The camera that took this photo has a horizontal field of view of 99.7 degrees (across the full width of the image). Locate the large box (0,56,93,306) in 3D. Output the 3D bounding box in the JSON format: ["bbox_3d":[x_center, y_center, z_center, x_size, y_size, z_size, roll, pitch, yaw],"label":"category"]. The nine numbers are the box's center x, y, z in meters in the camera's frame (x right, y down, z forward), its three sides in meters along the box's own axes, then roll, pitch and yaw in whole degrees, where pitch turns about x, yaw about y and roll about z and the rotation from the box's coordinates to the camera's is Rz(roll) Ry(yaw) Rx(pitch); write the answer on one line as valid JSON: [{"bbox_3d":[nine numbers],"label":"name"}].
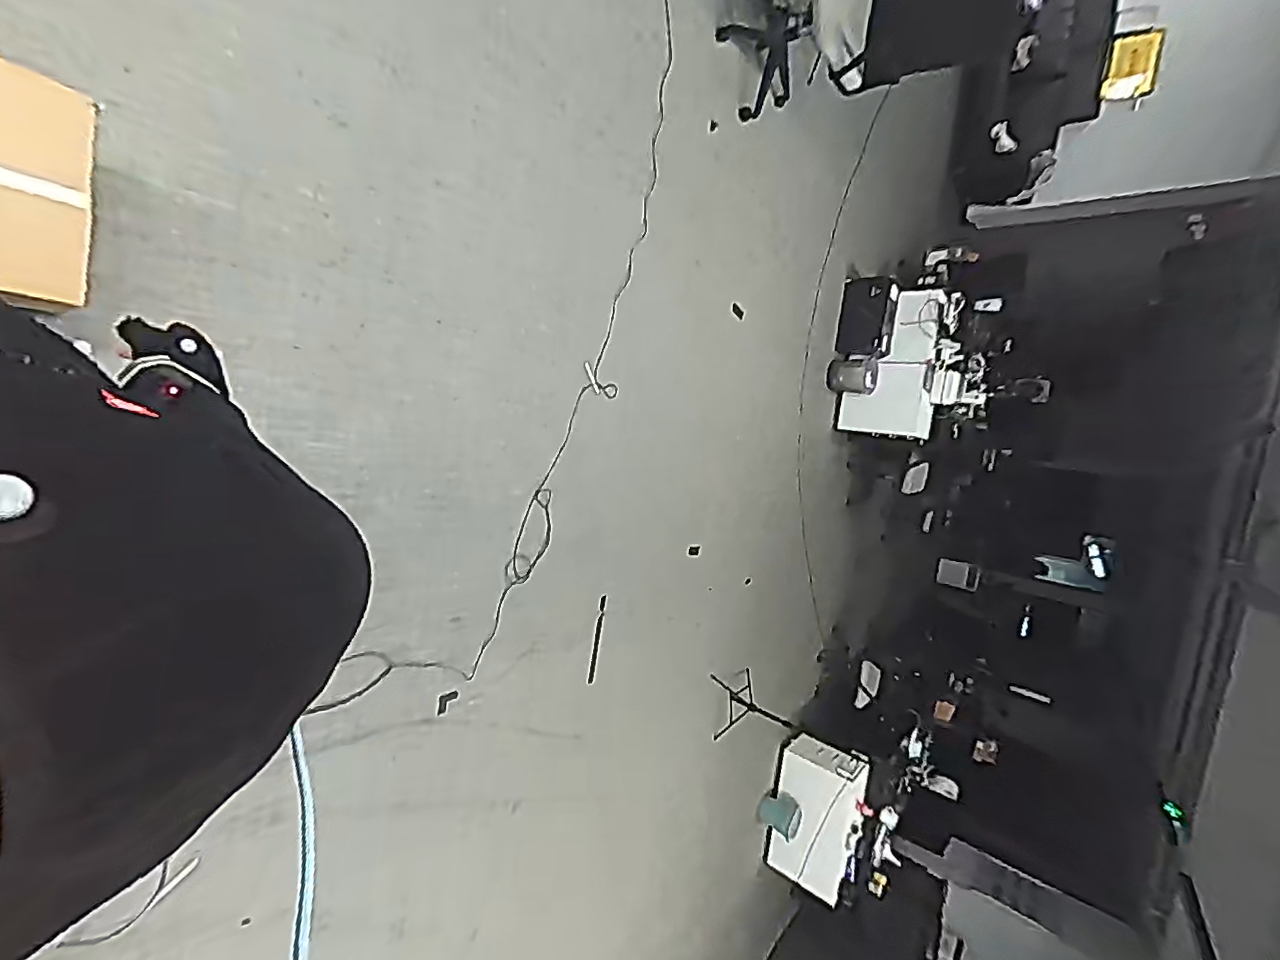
[{"bbox_3d":[-1.084,-0.457,0.761,0.408,0.320,0.320,2,98,-52],"label":"large box"}]
